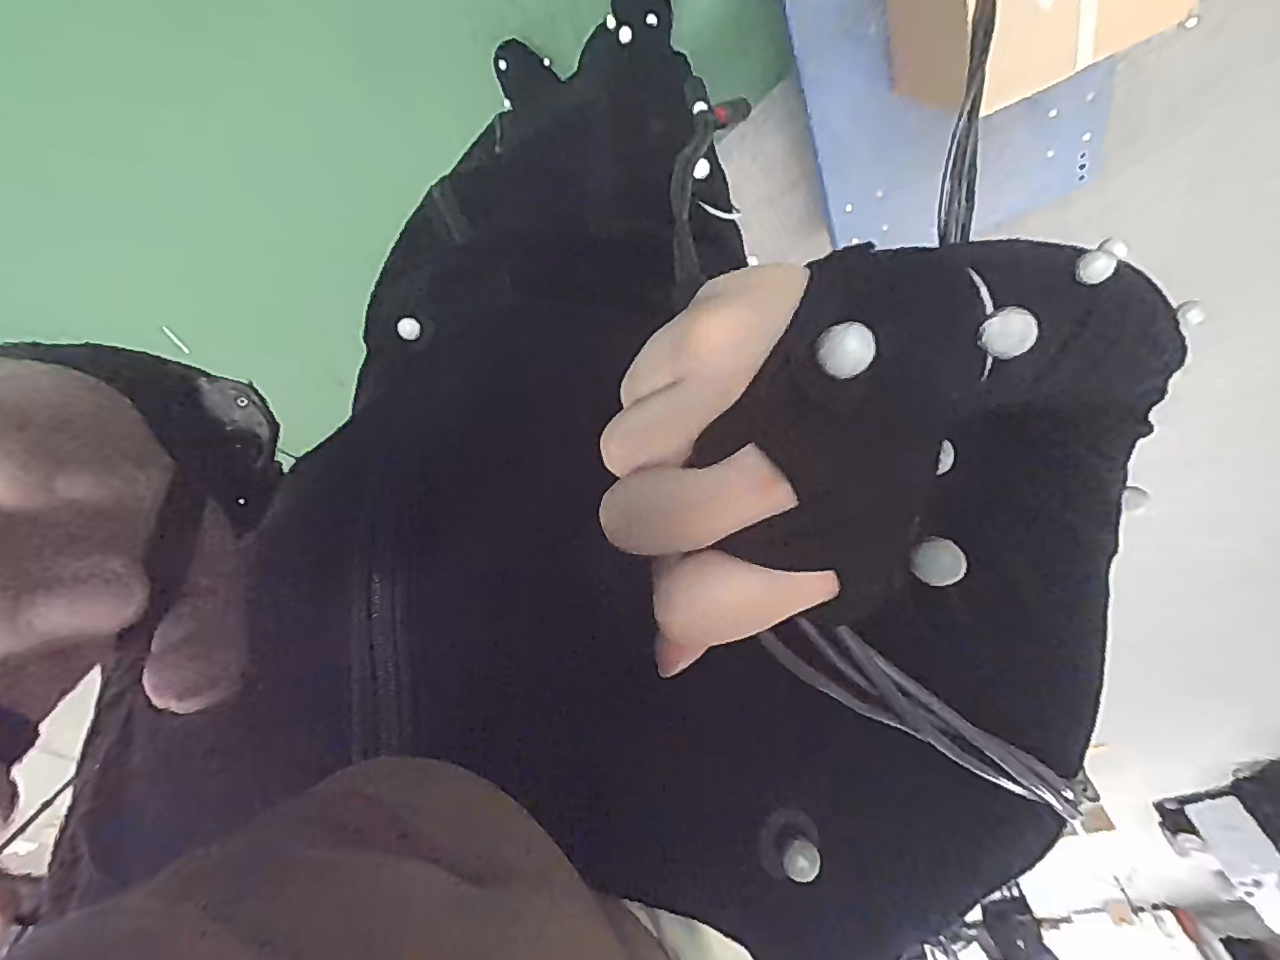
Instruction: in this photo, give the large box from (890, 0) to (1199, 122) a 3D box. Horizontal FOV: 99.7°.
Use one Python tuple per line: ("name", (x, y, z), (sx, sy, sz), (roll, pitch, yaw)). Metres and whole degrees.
("large box", (0.584, -0.851, 0.814), (0.320, 0.320, 0.408), (-20, 131, 14))
